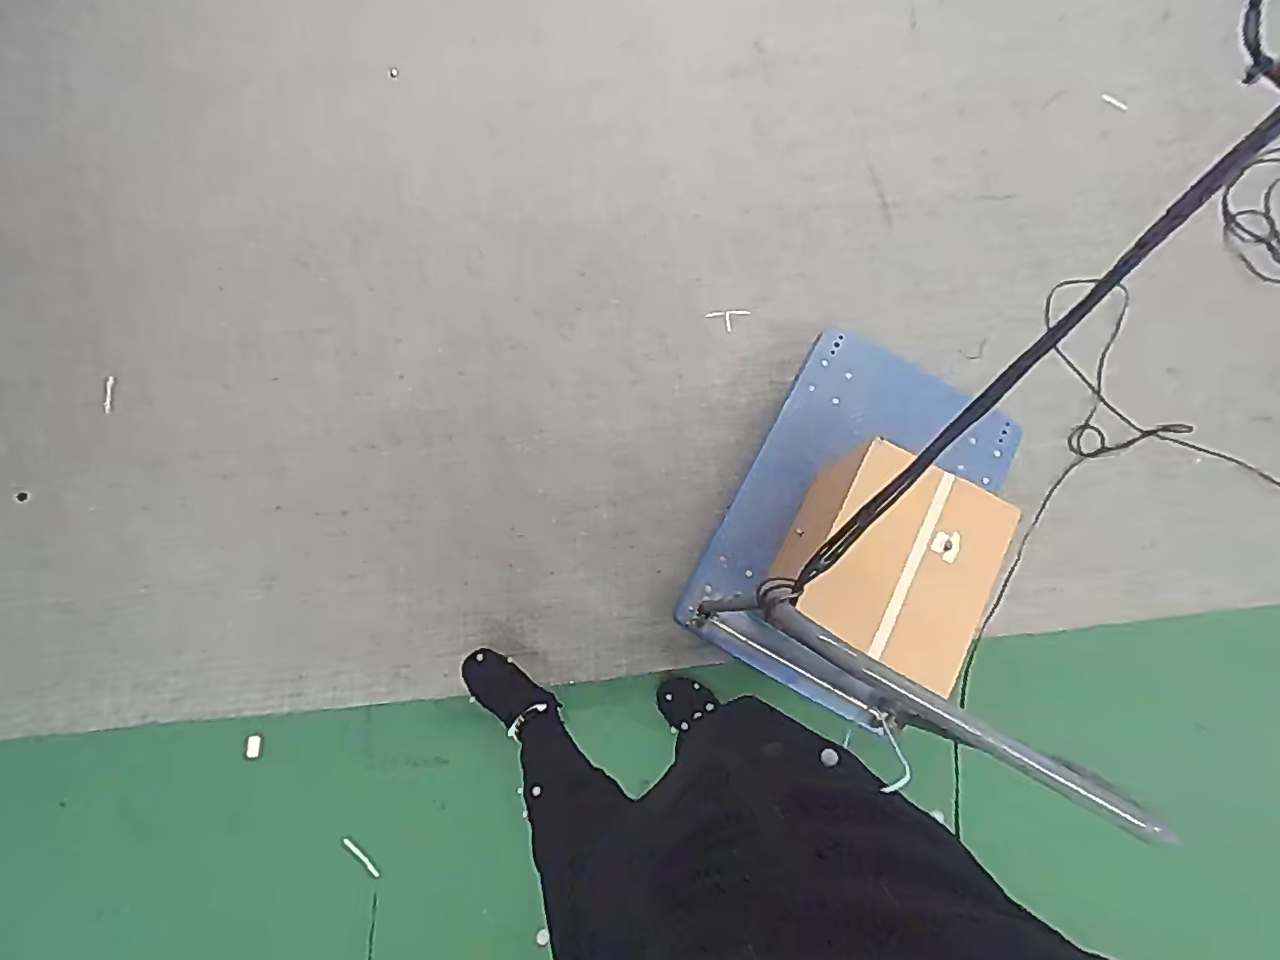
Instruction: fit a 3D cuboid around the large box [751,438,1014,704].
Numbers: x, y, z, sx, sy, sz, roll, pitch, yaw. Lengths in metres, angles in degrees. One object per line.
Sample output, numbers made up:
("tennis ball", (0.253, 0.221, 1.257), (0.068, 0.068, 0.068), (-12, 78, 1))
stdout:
("large box", (0.483, 0.190, 1.144), (0.320, 0.320, 0.408), (29, 78, 3))
